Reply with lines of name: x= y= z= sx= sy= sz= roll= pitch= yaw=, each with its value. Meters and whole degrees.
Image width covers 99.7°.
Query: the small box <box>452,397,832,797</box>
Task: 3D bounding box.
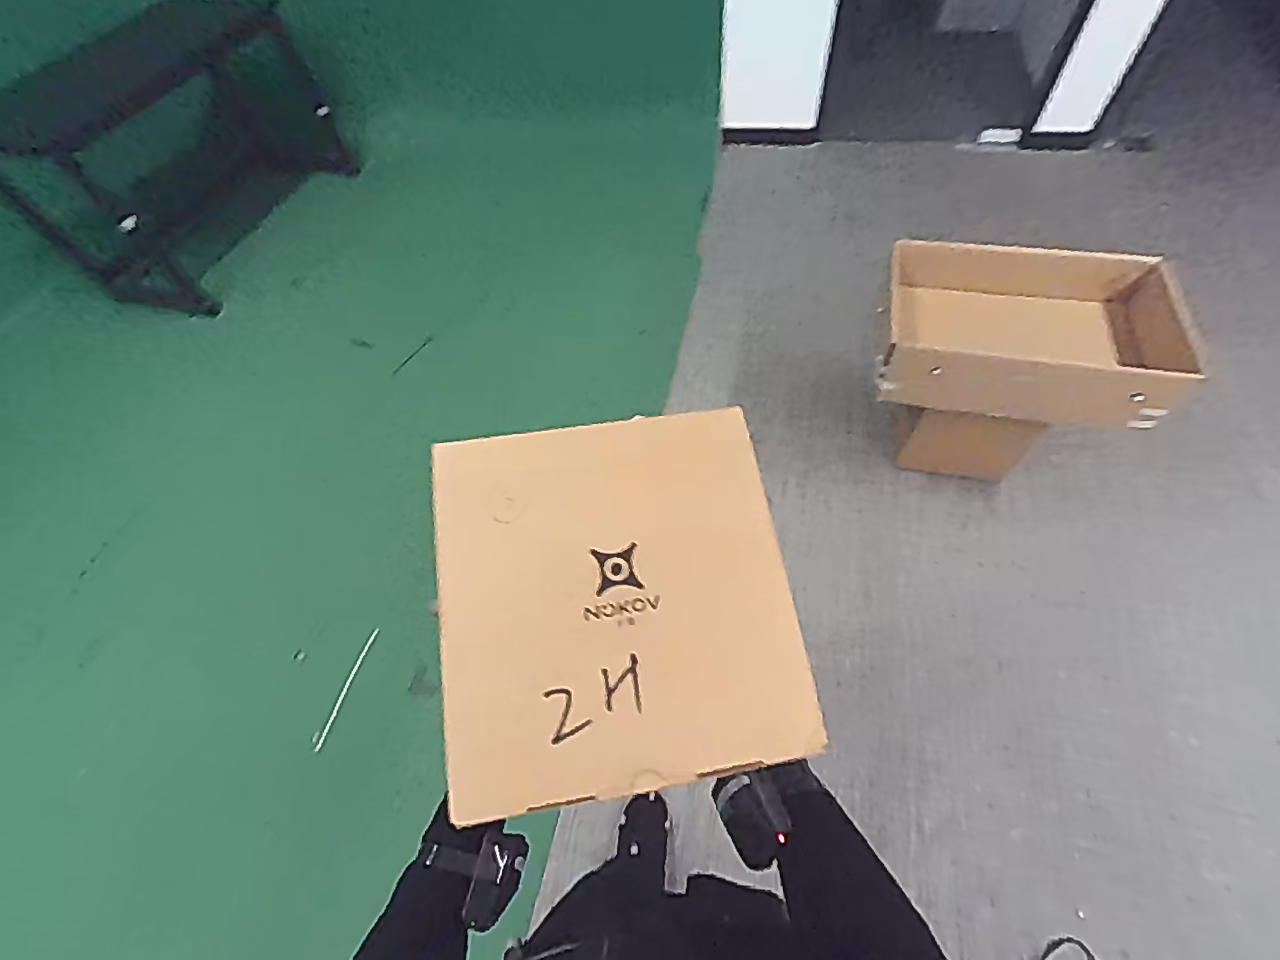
small box: x=-0.012 y=0.070 z=0.332 sx=0.168 sy=0.176 sz=0.179 roll=-6 pitch=71 yaw=-6
